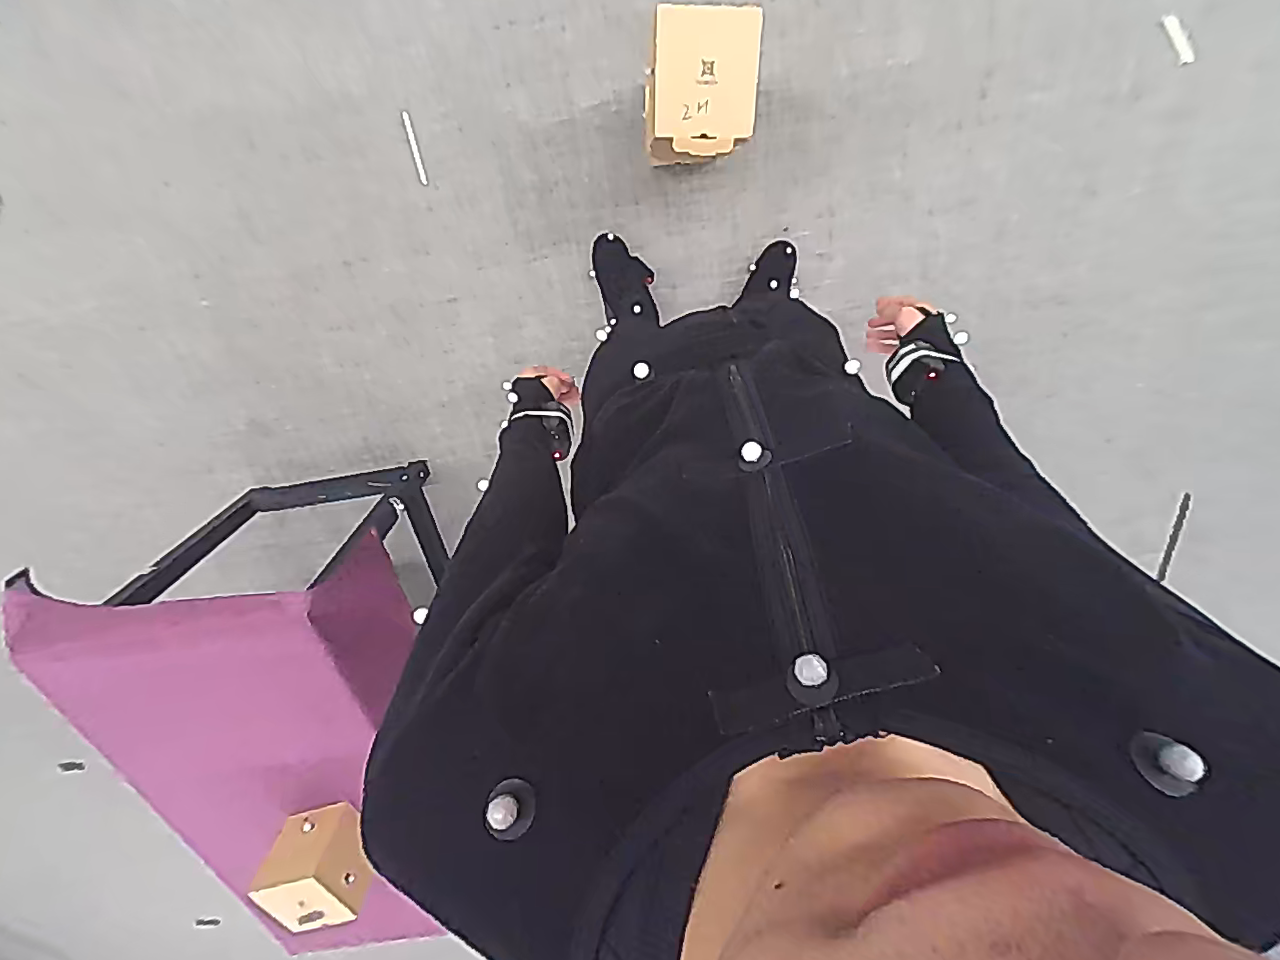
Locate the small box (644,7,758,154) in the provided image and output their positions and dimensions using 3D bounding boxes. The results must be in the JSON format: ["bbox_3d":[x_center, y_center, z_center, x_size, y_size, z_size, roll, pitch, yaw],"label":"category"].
[{"bbox_3d":[0.094,-0.675,0.933,0.168,0.176,0.179,0,117,-3],"label":"small box"}]

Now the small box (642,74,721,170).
[{"bbox_3d":[0.093,-0.813,1.233,0.168,0.176,0.179,-5,116,0],"label":"small box"}]

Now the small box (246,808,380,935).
[{"bbox_3d":[-0.739,0.899,1.248,0.168,0.176,0.179,-18,115,7],"label":"small box"}]
